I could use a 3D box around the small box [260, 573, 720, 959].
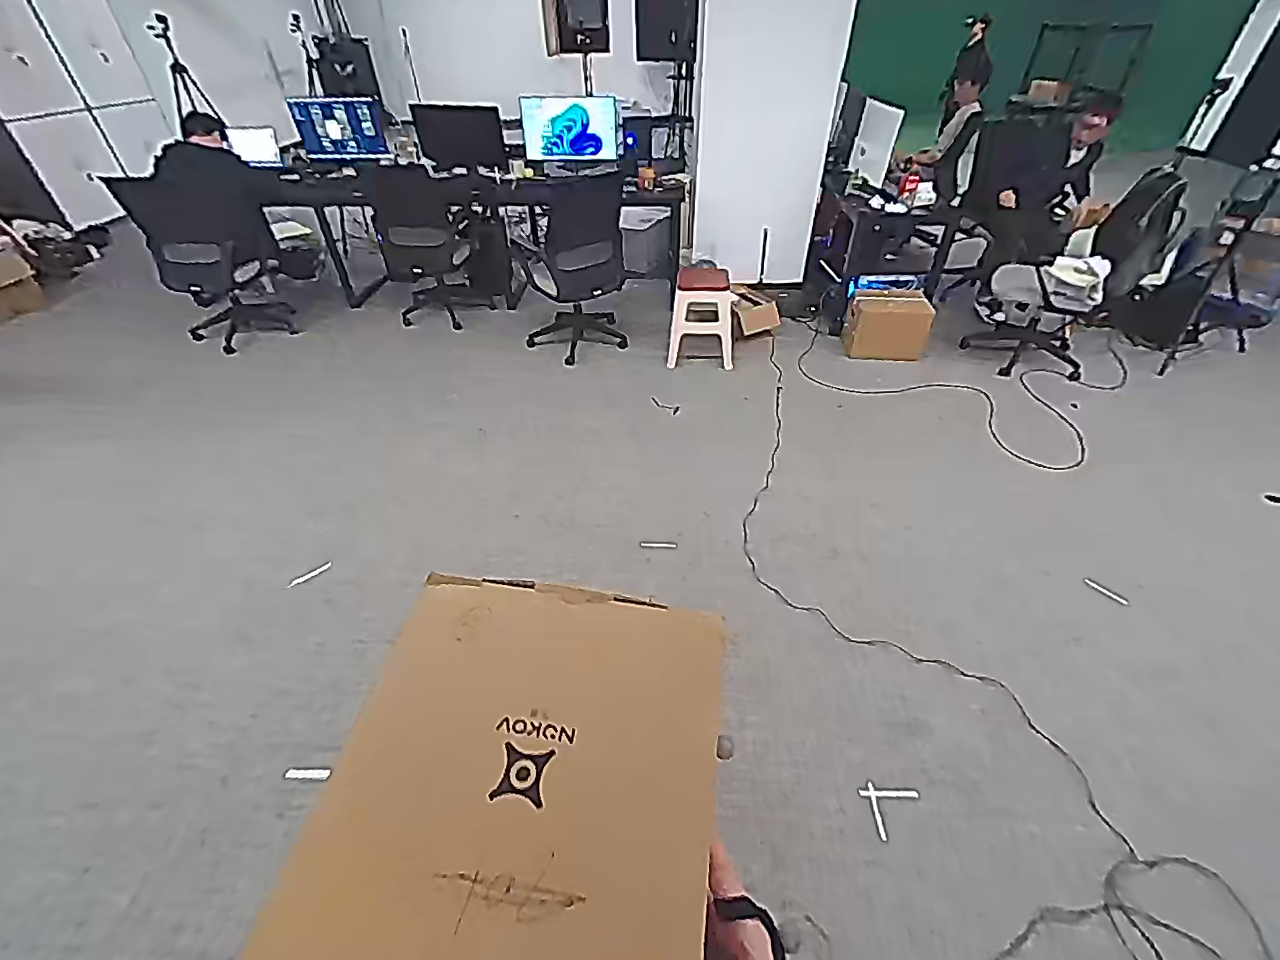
[{"bbox_3d":[-0.052,0.181,0.309,0.168,0.176,0.179,7,49,6],"label":"small box"}]
